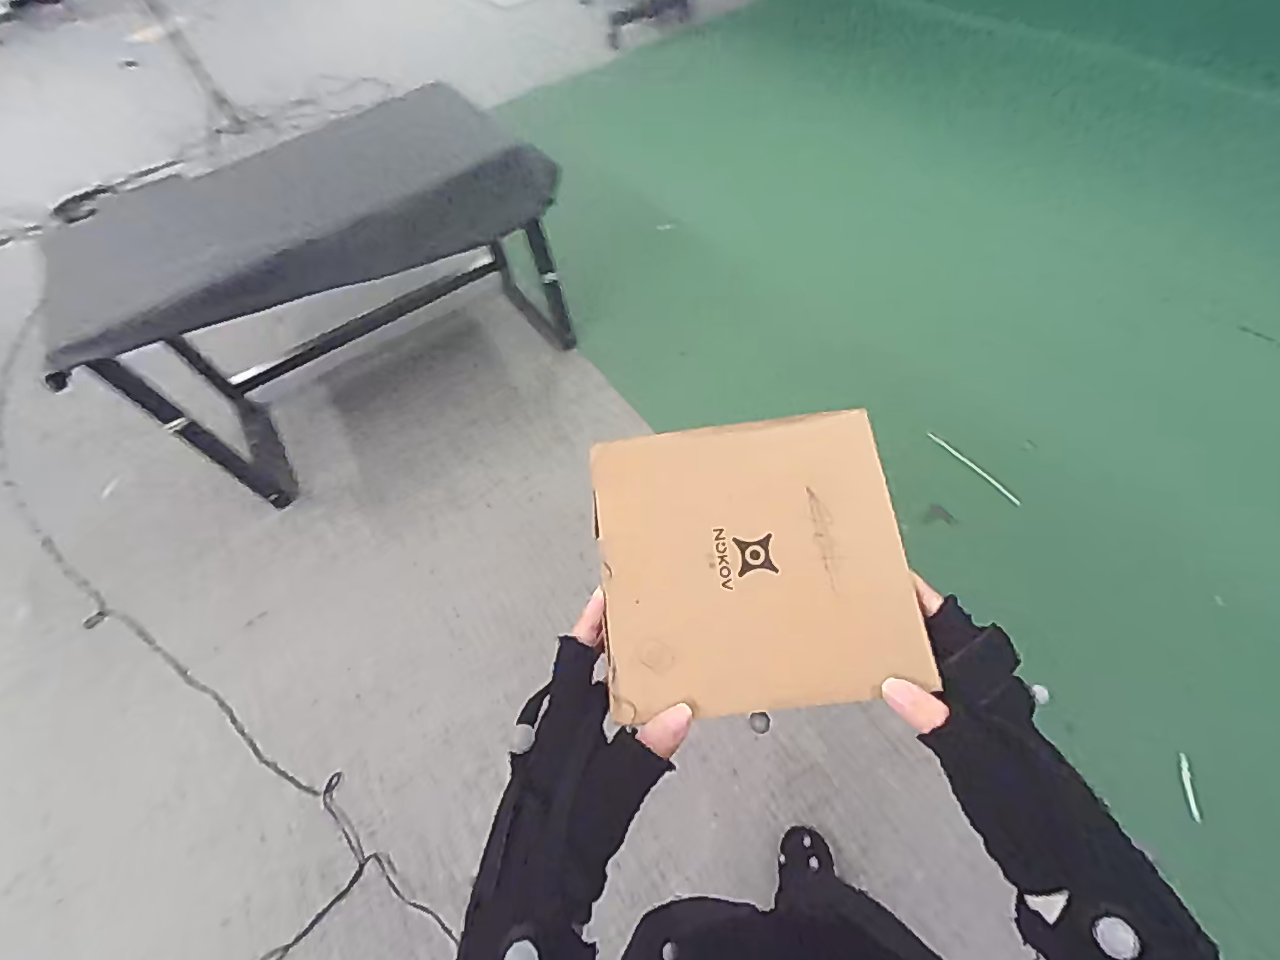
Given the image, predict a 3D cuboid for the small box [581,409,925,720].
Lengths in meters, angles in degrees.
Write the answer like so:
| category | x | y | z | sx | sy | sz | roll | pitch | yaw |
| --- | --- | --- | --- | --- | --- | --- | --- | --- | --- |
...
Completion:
| category | x | y | z | sx | sy | sz | roll | pitch | yaw |
| --- | --- | --- | --- | --- | --- | --- | --- | --- | --- |
| small box | 0.063 | 0.069 | 0.392 | 0.179 | 0.176 | 0.168 | -9 | 72 | 0 |
